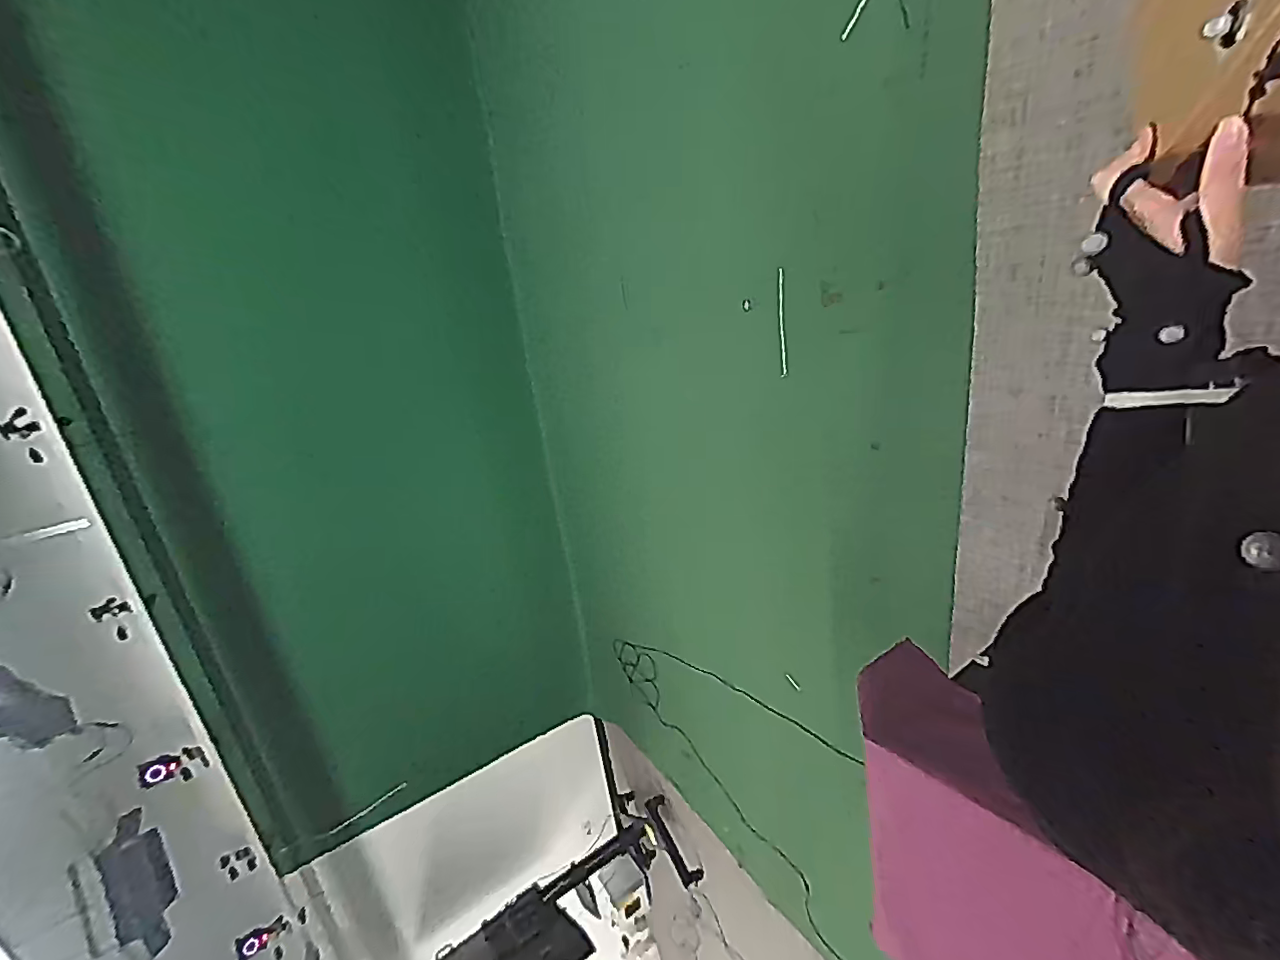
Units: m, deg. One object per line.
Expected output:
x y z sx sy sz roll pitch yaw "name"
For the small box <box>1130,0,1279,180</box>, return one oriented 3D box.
0.420 -0.300 0.295 0.179 0.168 0.176 6 80 17 "small box"
